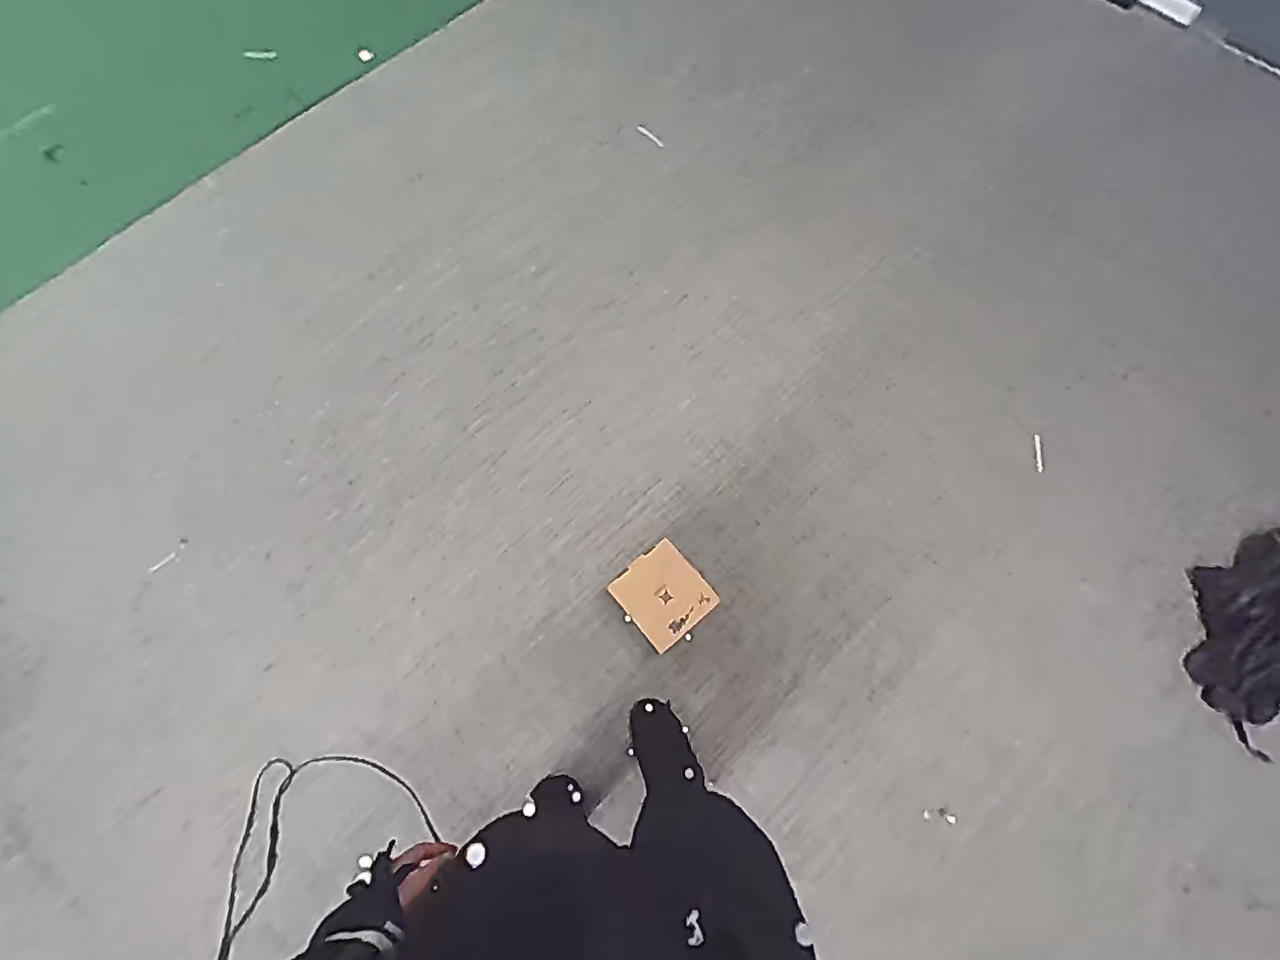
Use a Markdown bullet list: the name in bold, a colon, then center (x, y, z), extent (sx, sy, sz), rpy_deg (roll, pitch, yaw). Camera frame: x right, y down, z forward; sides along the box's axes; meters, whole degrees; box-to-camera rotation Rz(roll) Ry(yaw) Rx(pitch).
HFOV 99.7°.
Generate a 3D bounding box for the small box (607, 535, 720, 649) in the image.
- **small box**: center (0.050, 0.251, 1.175), extent (0.168, 0.176, 0.179), rpy_deg (-39, 75, -10)
